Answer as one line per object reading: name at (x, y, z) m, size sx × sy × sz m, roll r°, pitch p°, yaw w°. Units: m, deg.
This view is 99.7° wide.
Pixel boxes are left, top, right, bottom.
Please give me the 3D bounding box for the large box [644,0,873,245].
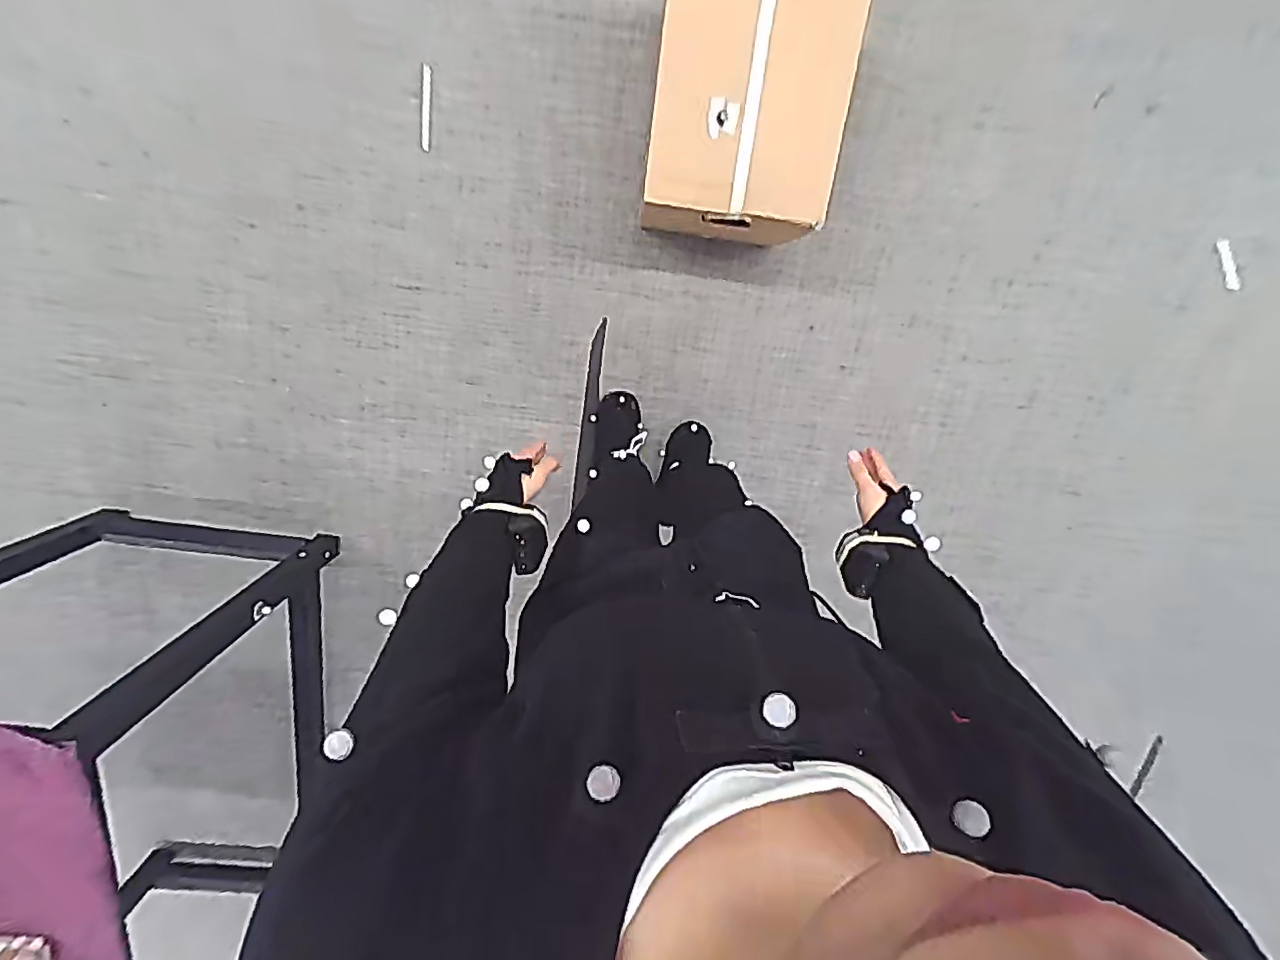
large box at (0.185, -0.678, 0.993) m, size 0.320 × 0.320 × 0.408 m, roll 6°, pitch 108°, yaw -3°
